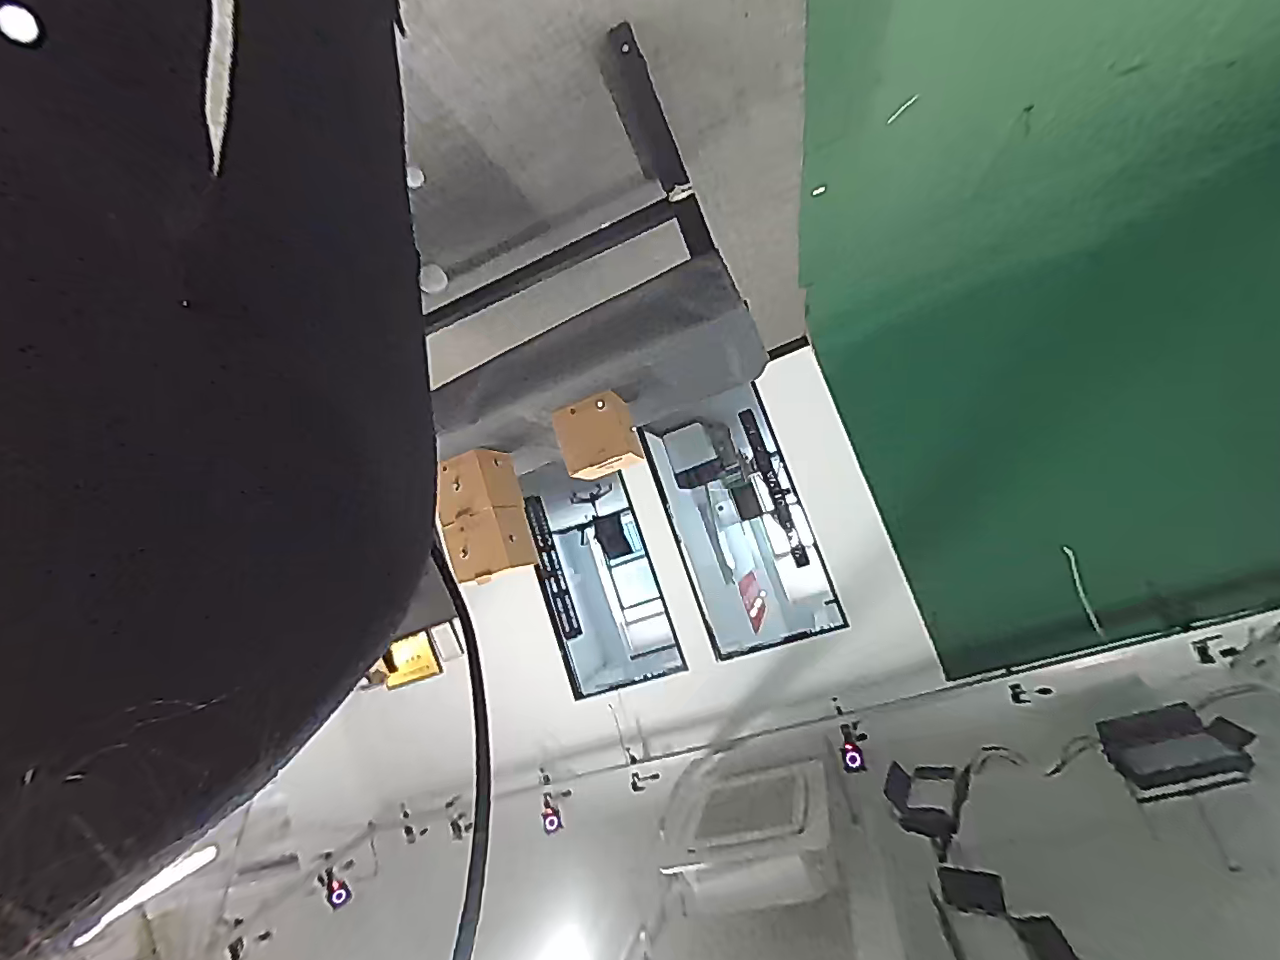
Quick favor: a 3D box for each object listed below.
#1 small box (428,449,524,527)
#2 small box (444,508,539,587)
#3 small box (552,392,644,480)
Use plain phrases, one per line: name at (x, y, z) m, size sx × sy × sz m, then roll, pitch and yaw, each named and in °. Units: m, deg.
small box at (-0.453, 0.023, 1.496) m, size 0.168 × 0.176 × 0.179 m, roll -21°, pitch 171°, yaw 16°
small box at (-0.404, 0.177, 1.475) m, size 0.168 × 0.176 × 0.179 m, roll -20°, pitch 173°, yaw 13°
small box at (-0.108, -0.112, 1.390) m, size 0.168 × 0.176 × 0.179 m, roll -20°, pitch 173°, yaw 10°
